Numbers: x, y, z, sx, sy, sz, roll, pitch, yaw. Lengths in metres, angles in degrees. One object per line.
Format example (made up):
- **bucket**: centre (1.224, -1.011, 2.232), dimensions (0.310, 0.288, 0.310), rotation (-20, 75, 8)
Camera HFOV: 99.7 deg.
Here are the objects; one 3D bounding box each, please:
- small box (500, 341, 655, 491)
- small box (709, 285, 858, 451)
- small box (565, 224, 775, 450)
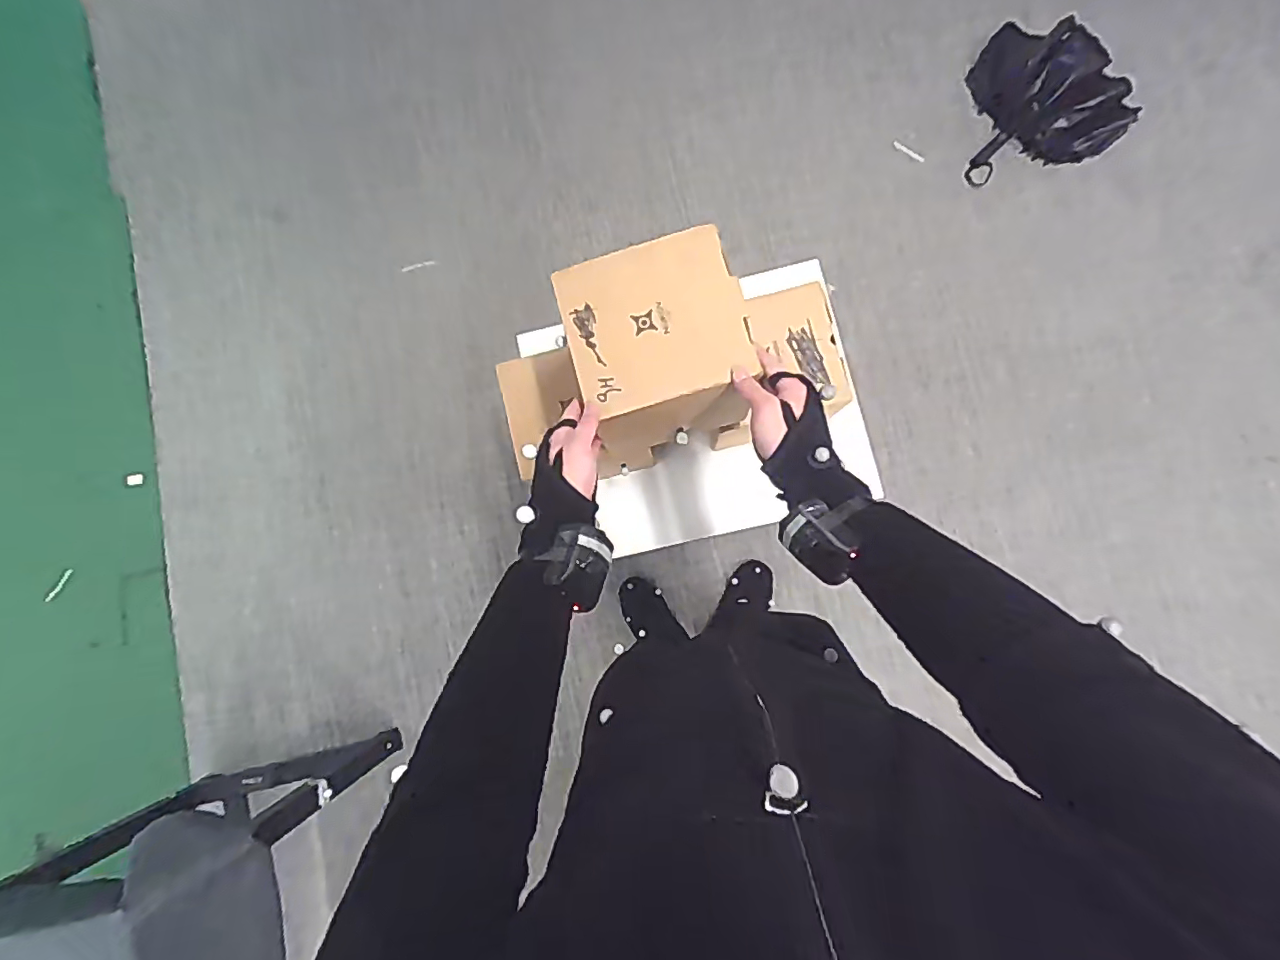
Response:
- **small box**: centre (-0.079, -0.089, 0.781), dimensions (0.179, 0.176, 0.168), rotation (-14, 81, 2)
- **small box**: centre (0.180, -0.147, 0.770), dimensions (0.179, 0.176, 0.168), rotation (-12, 82, 3)
- **small box**: centre (0.030, -0.144, 0.603), dimensions (0.179, 0.176, 0.168), rotation (-14, 79, 1)
